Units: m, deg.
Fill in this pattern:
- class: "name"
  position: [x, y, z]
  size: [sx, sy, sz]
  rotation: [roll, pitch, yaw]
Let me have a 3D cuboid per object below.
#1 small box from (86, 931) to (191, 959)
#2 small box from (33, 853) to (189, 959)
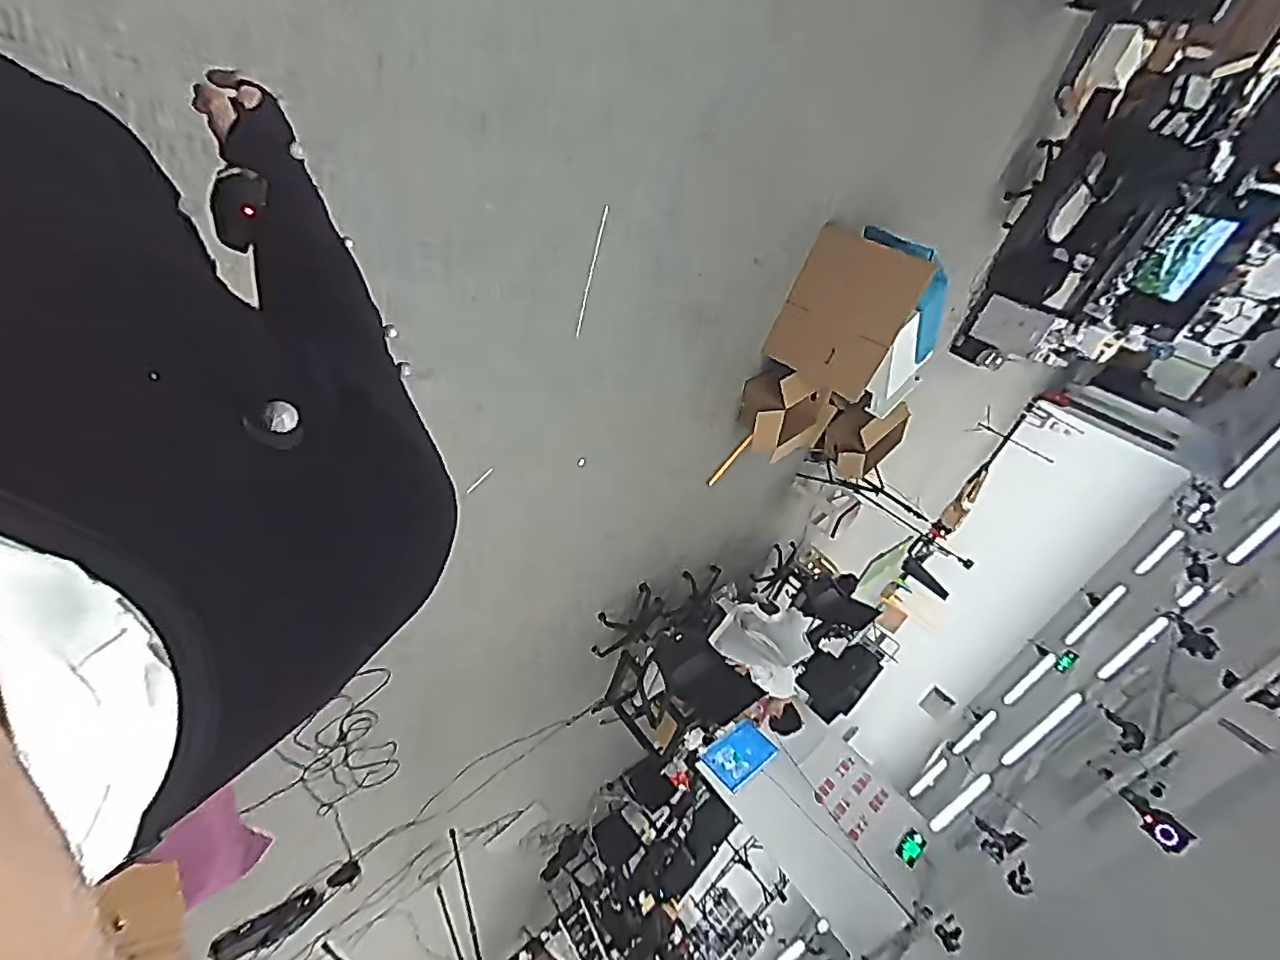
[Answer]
- class: "small box"
  position: [-1.009, 1.021, 1.043]
  size: [0.179, 0.176, 0.168]
  rotation: [-46, 146, -4]
- class: "small box"
  position: [-1.108, 0.927, 1.132]
  size: [0.168, 0.176, 0.179]
  rotation: [-46, 147, -4]
